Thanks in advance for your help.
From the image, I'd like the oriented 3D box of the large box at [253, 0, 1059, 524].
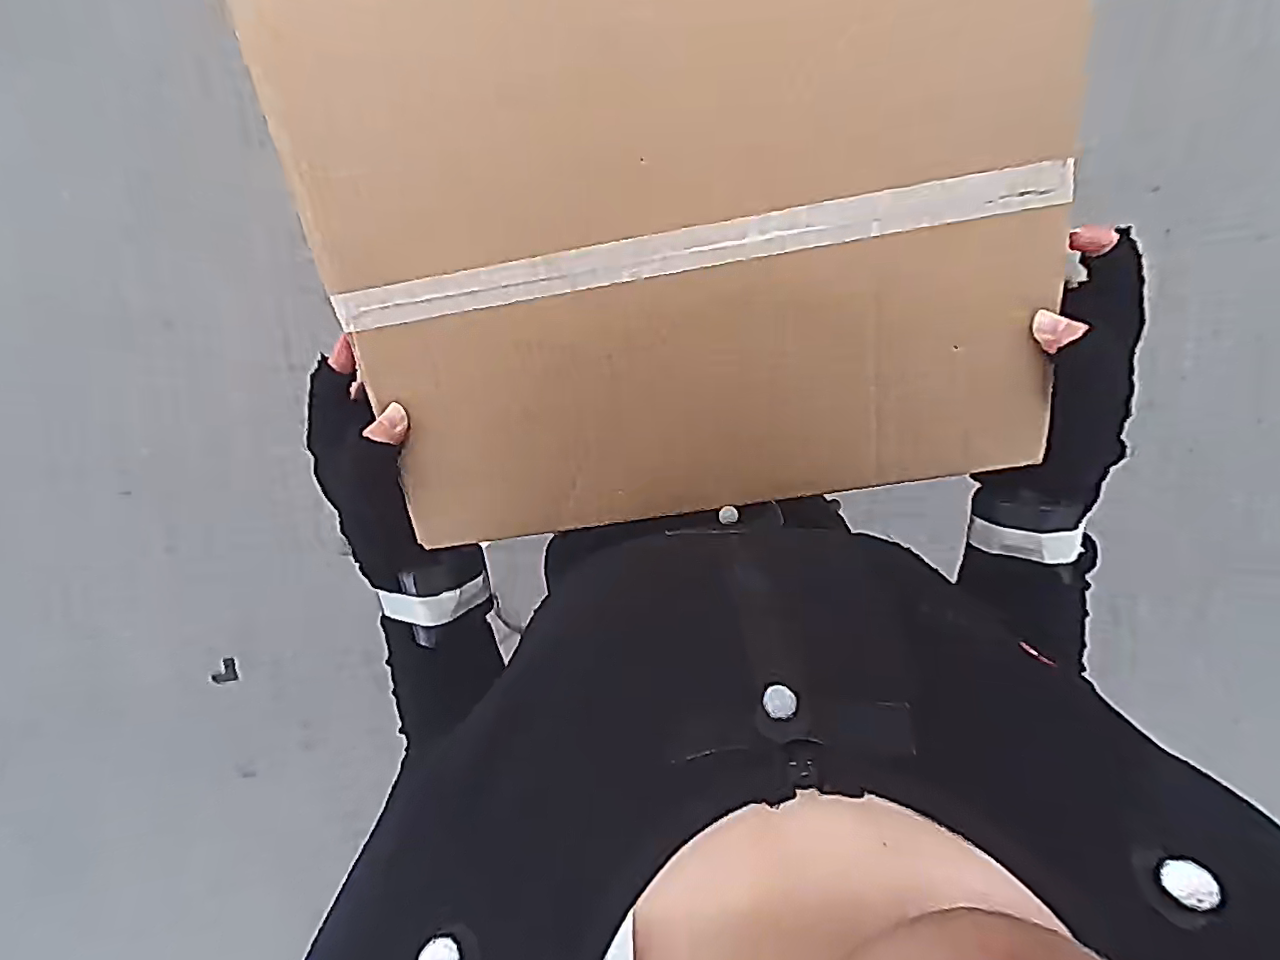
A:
[{"bbox_3d":[0.024,-0.192,0.446,0.408,0.320,0.320,-8,112,4],"label":"large box"}]
